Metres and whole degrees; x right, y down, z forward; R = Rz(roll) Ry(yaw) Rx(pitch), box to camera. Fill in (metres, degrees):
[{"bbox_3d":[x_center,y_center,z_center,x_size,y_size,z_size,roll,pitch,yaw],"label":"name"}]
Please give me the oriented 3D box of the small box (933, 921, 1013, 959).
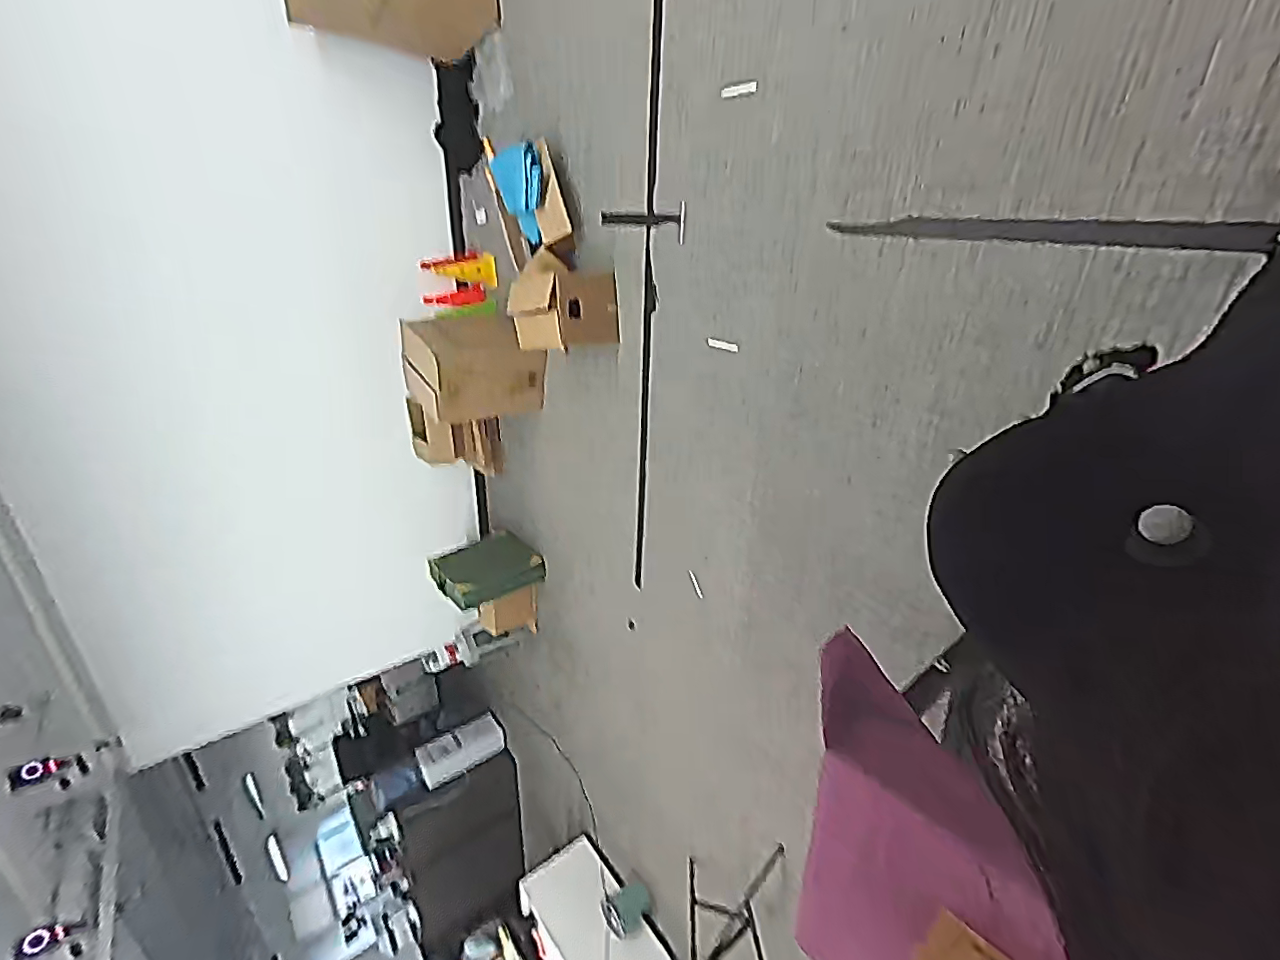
[{"bbox_3d":[0.544,0.877,0.860,0.168,0.176,0.179,21,119,47],"label":"small box"}]
